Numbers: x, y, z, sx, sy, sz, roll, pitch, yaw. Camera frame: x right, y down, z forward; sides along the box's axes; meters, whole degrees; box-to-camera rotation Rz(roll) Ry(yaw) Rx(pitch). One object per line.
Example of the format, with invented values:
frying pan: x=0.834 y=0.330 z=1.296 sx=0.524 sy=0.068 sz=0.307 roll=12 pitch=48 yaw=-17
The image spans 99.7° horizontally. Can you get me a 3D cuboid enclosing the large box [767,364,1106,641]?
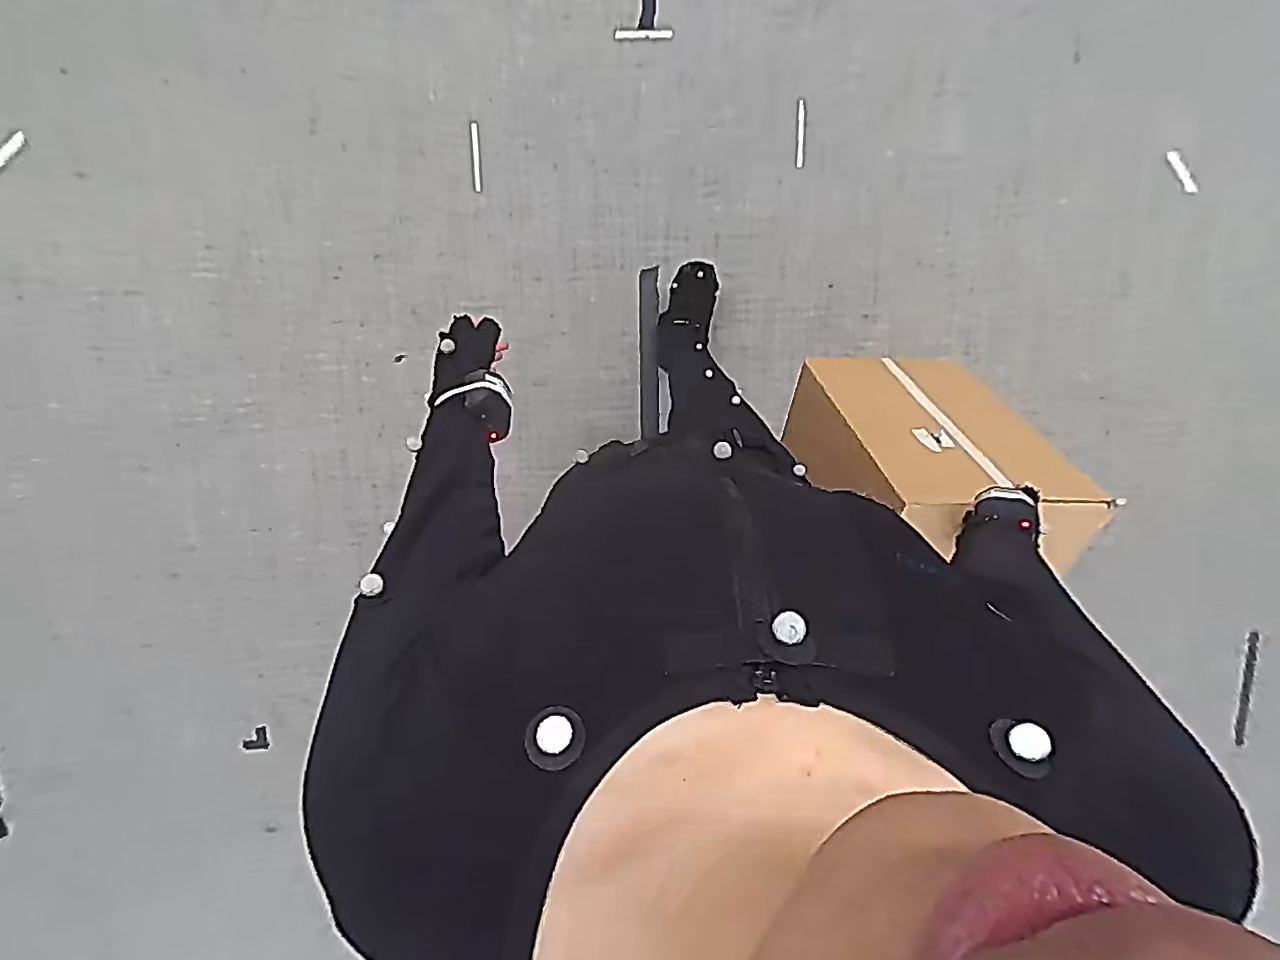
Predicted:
large box: x=0.462 y=0.028 z=0.972 sx=0.320 sy=0.408 sz=0.320 roll=0 pitch=130 yaw=-7
